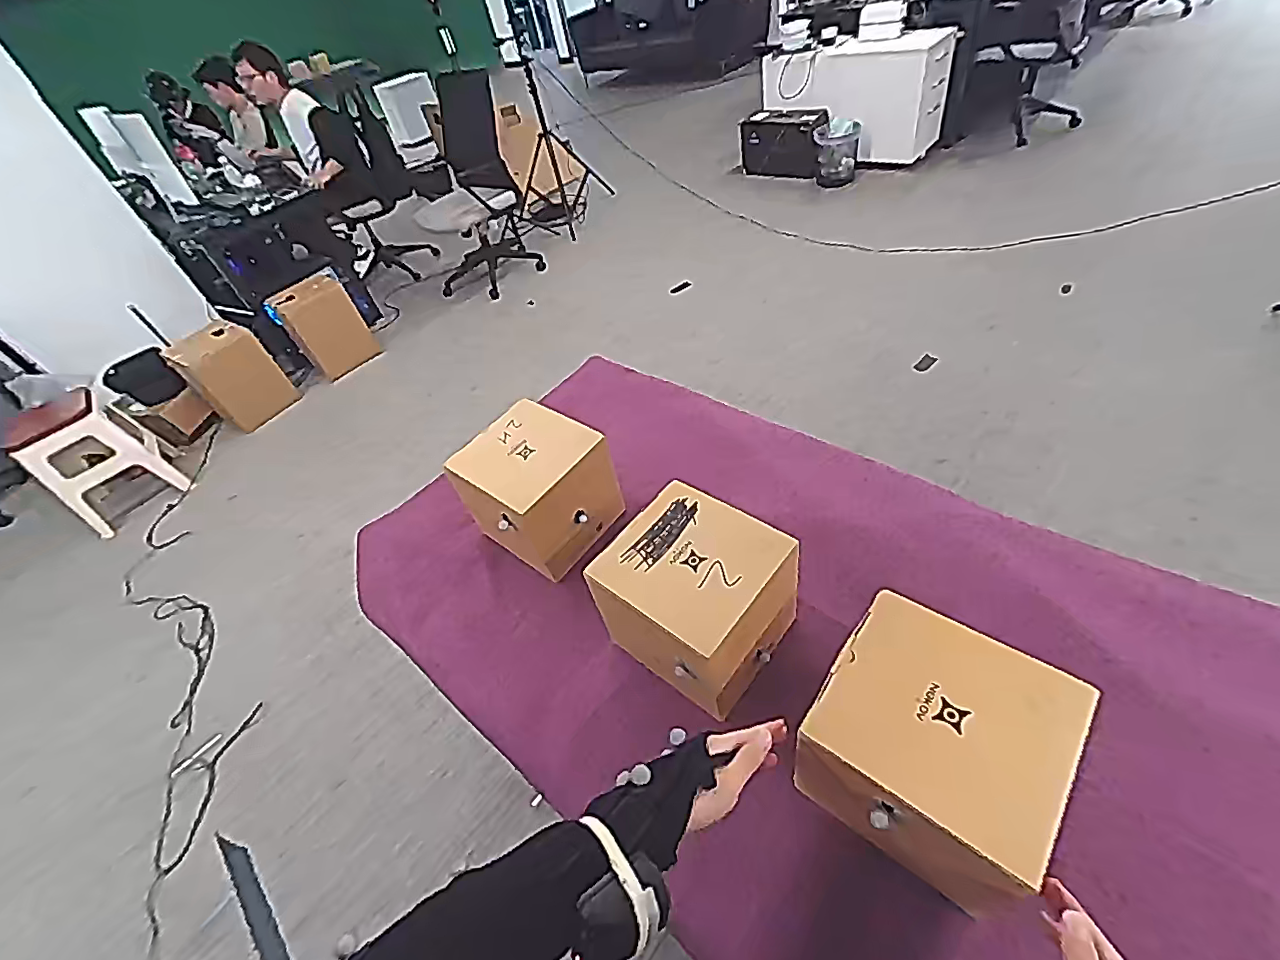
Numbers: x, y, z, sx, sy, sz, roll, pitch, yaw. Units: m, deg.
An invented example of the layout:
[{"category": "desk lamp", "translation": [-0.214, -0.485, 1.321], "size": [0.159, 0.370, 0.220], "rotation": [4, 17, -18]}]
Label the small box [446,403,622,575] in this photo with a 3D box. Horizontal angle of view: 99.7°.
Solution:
[{"category": "small box", "translation": [-0.149, 0.018, 0.819], "size": [0.179, 0.176, 0.168], "rotation": [27, 58, 31]}]
